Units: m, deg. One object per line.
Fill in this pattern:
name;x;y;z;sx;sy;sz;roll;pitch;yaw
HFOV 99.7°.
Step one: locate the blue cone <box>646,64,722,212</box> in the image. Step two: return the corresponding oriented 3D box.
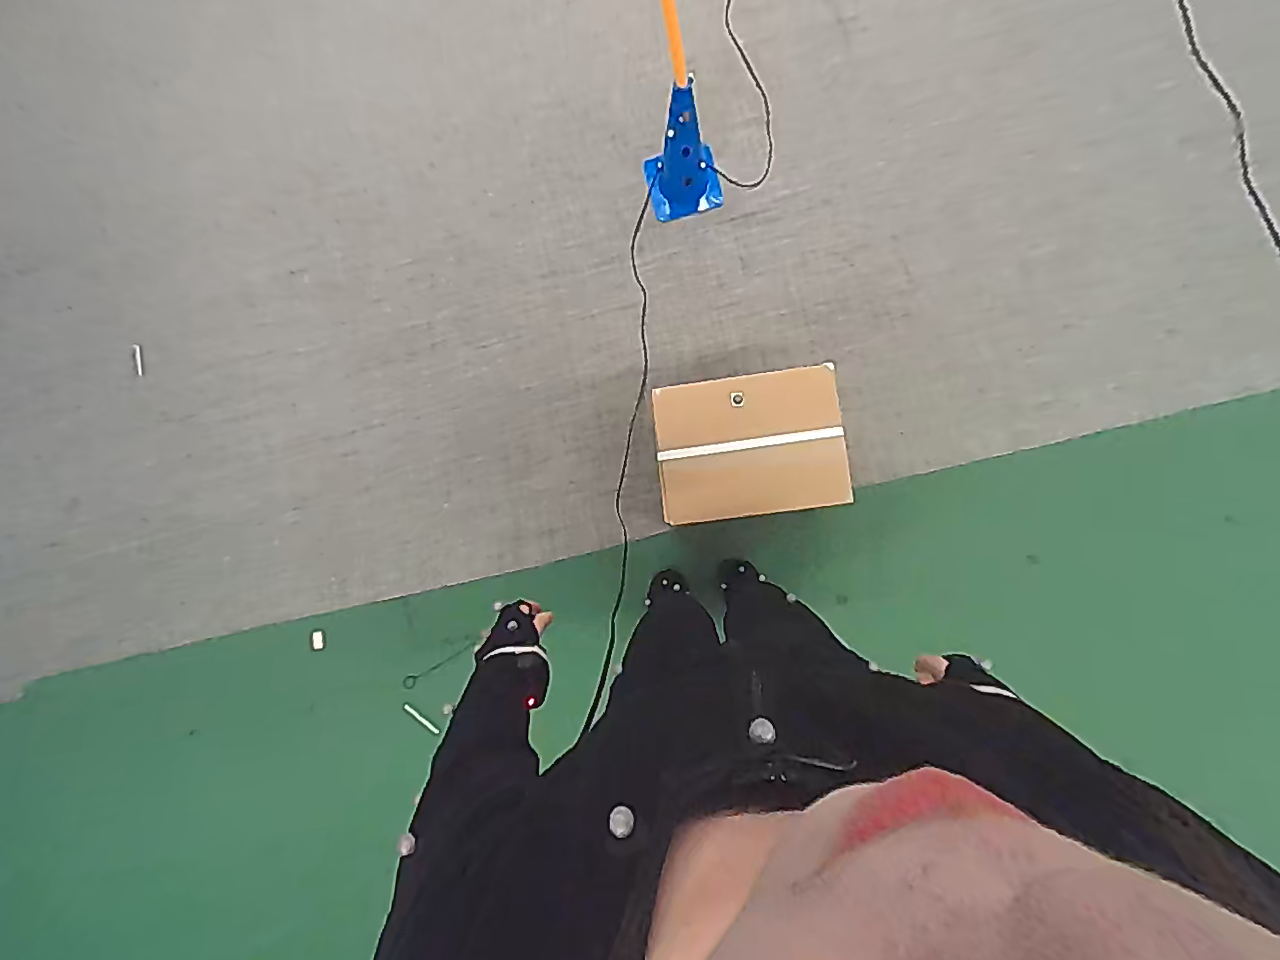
blue cone;0.109;-0.881;1.379;0.193;0.380;0.192;-17;84;5
